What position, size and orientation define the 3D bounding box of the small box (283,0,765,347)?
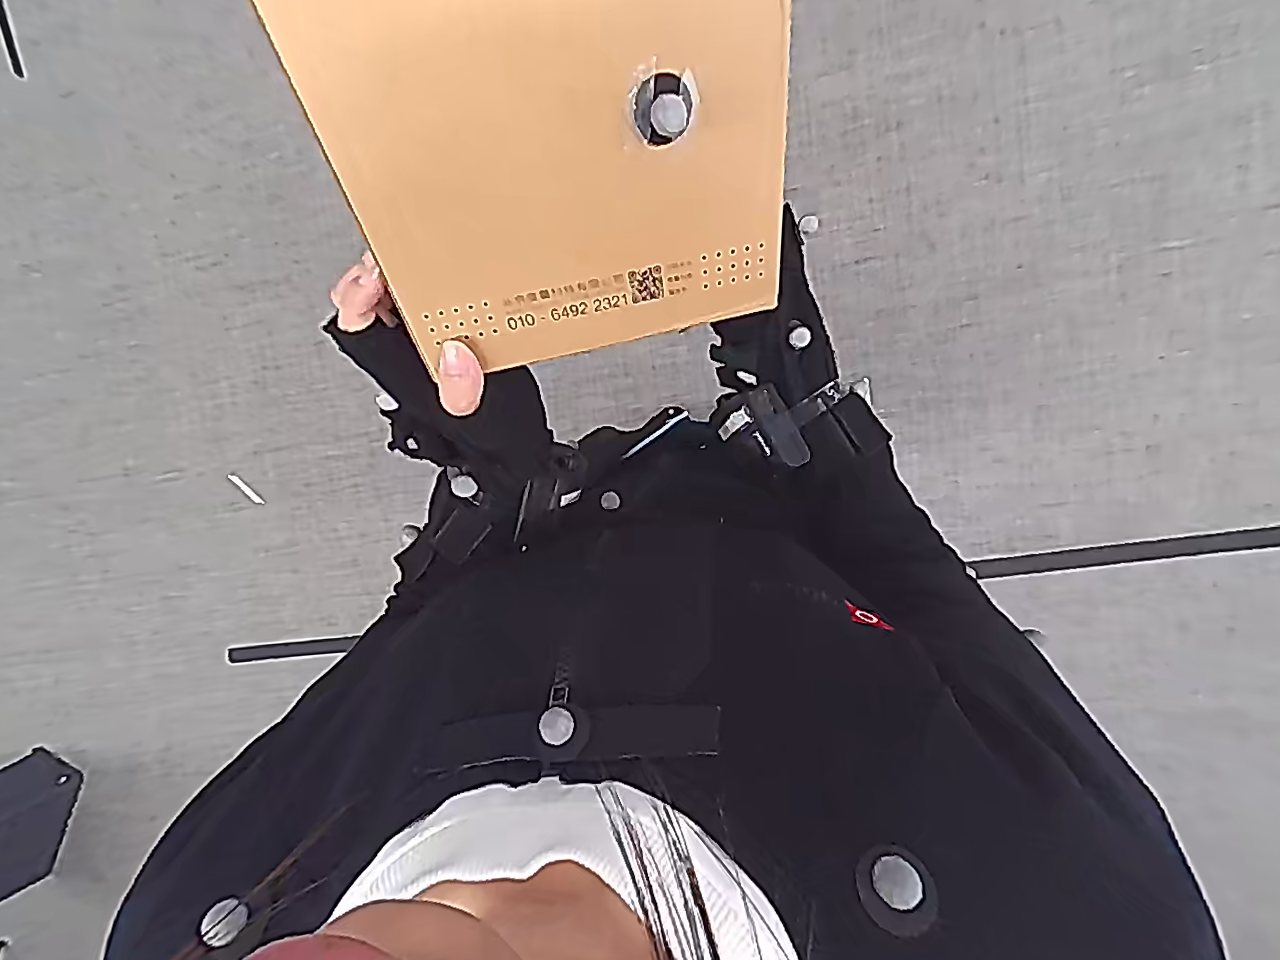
[{"bbox_3d":[-0.038,-0.183,0.276,0.168,0.179,0.176,-12,134,-2],"label":"small box"}]
